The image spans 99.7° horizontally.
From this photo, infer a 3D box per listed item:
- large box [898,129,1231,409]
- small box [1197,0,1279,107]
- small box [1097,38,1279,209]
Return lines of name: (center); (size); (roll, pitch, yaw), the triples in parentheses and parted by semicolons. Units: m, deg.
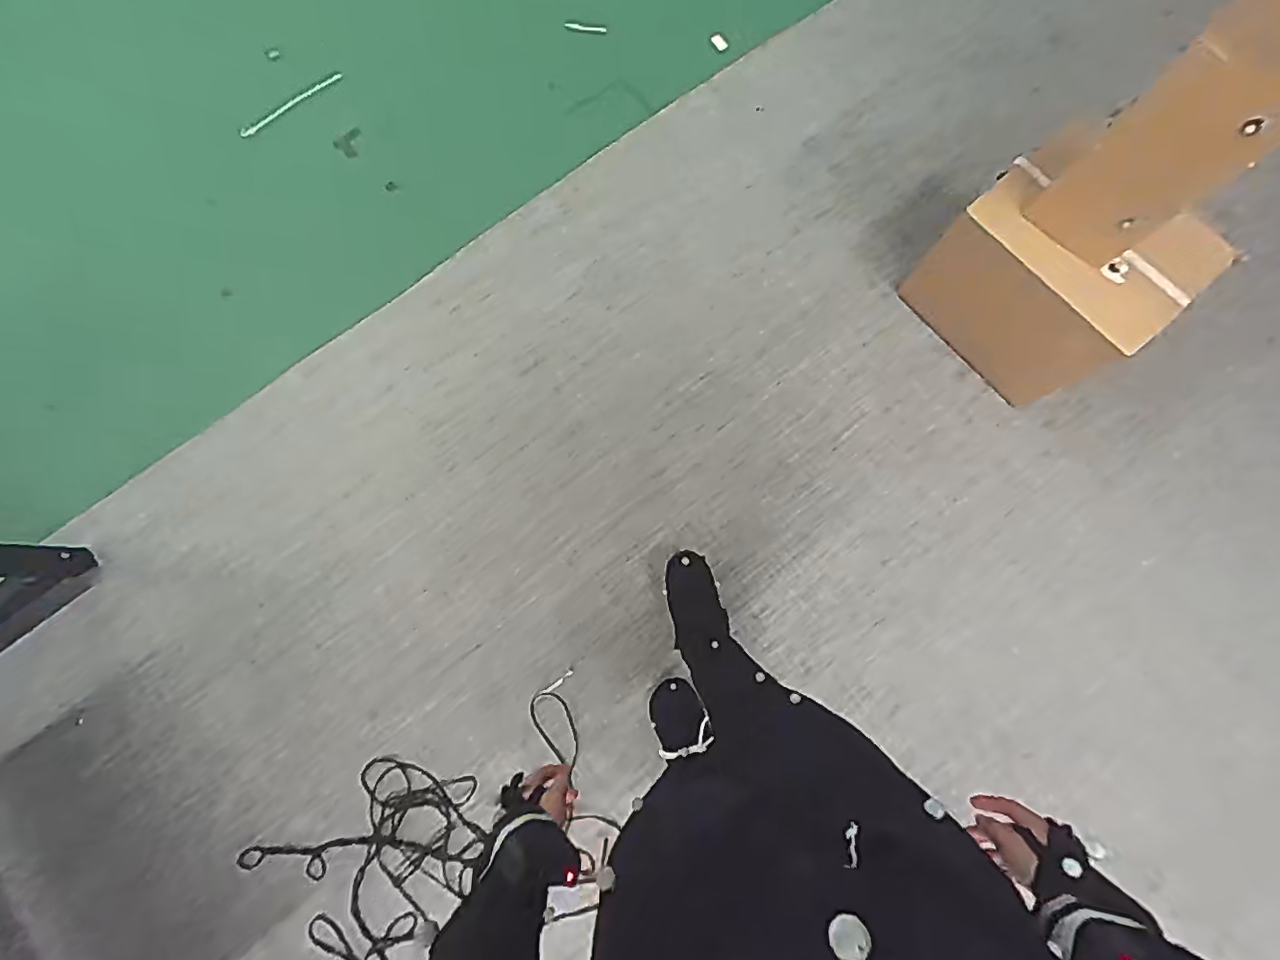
large box: (0.868, -0.431, 1.172); (0.320, 0.320, 0.408); (-41, 82, -5)
small box: (0.831, -0.571, 0.620); (0.168, 0.176, 0.179); (-41, 81, -7)
small box: (0.831, -0.538, 0.779); (0.168, 0.176, 0.179); (-41, 82, -6)
